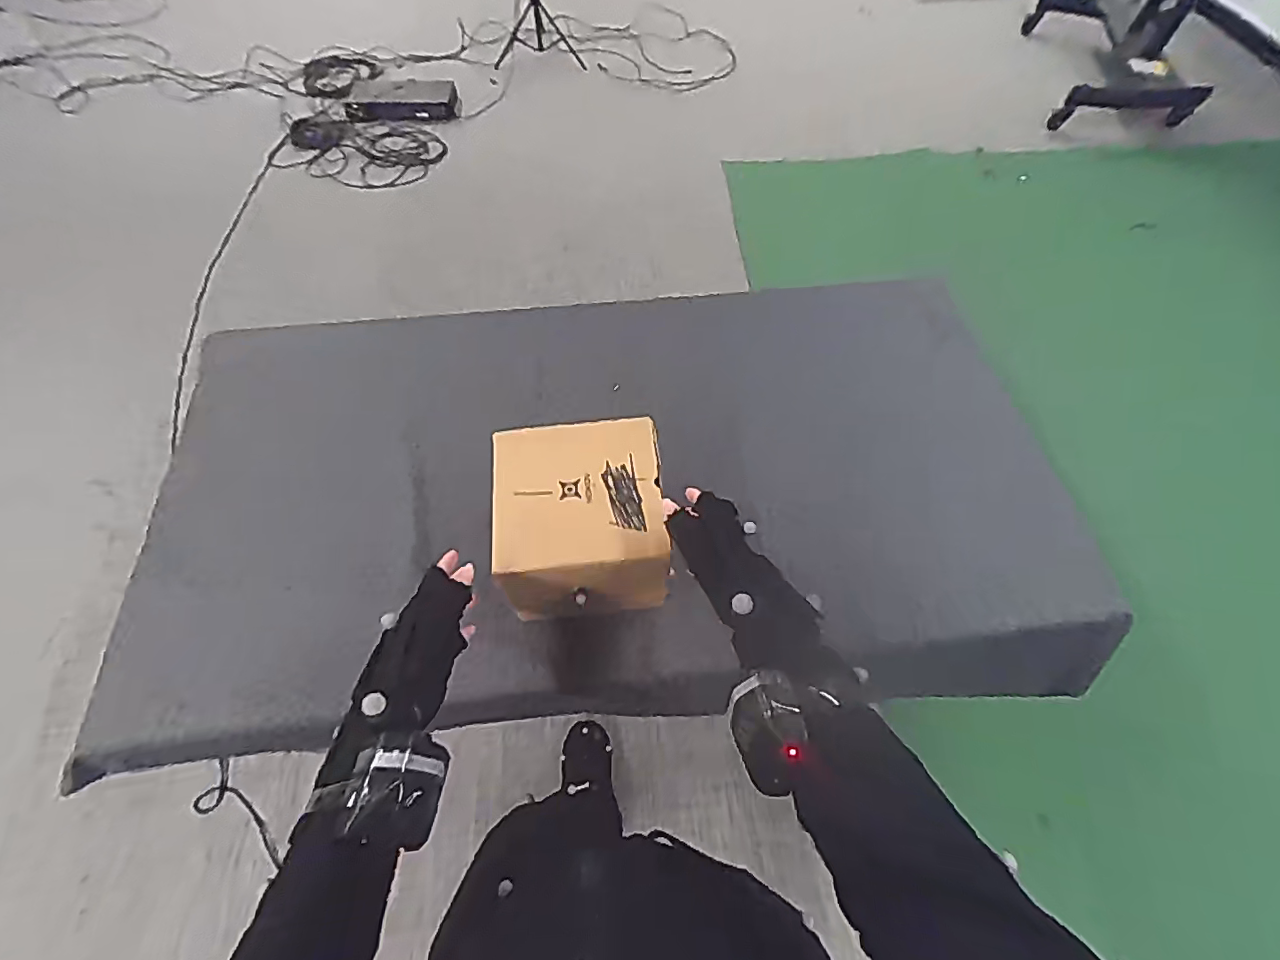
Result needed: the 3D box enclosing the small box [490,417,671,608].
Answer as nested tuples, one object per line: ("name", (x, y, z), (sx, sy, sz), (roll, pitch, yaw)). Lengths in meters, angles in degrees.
("small box", (-0.064, 0.043, 0.627), (0.179, 0.176, 0.168), (-3, 59, -3))
